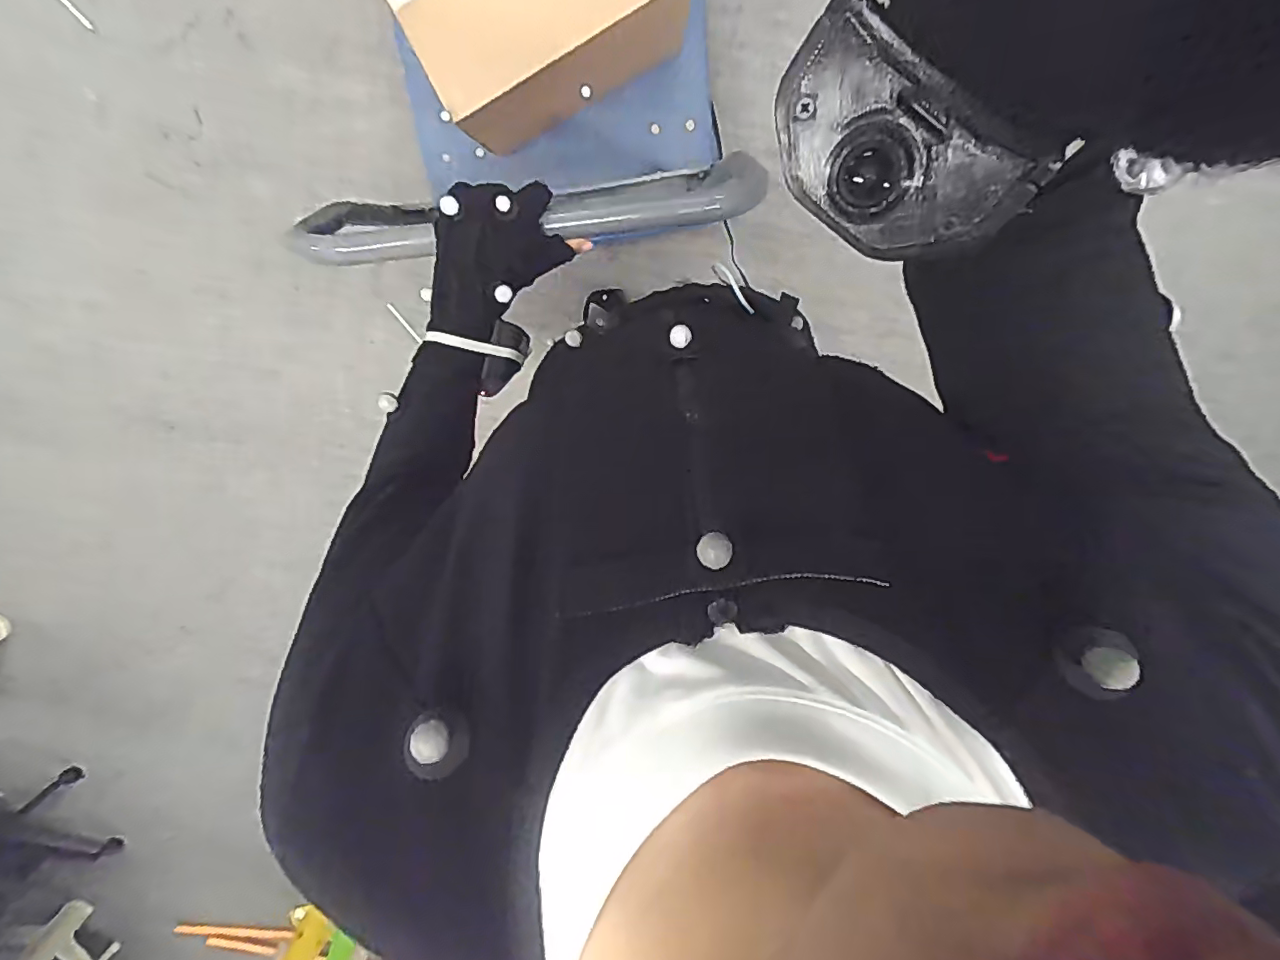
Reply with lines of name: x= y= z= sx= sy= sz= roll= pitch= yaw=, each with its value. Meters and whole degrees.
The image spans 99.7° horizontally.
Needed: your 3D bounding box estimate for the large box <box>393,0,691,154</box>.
large box: x=-0.162 y=-0.805 z=0.869 sx=0.408 sy=0.320 sz=0.320 roll=-25 pitch=109 yaw=10
